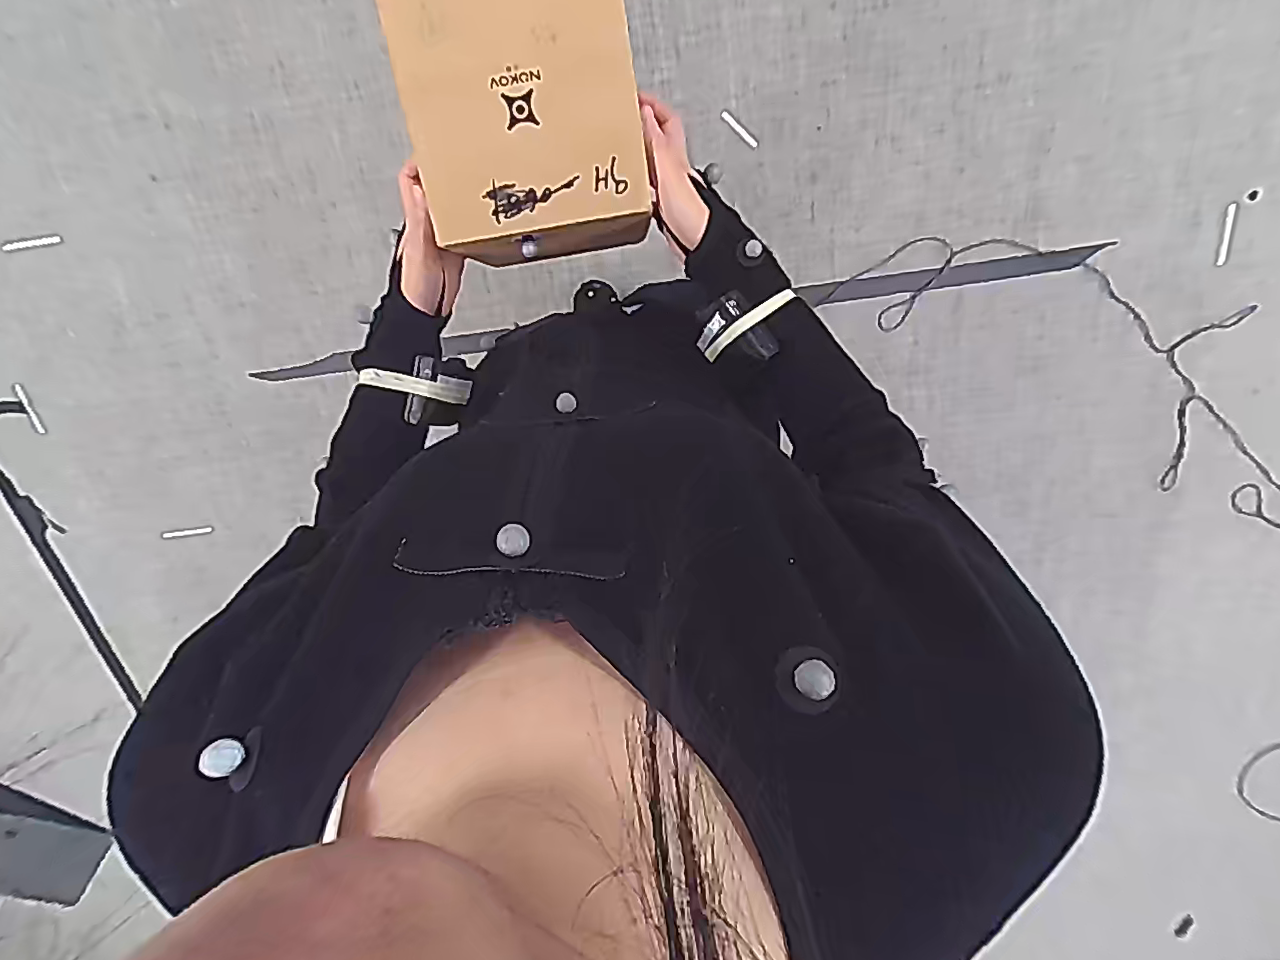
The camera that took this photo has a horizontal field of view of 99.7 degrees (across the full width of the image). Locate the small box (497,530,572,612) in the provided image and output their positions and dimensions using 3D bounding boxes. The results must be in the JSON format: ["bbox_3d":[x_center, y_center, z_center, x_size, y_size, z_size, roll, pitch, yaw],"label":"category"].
[{"bbox_3d":[-0.298,0.254,1.546,0.179,0.176,0.168,8,109,-4],"label":"small box"}]

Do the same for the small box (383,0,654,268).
[{"bbox_3d":[-0.085,-0.290,0.454,0.168,0.176,0.179,-9,106,1],"label":"small box"}]
